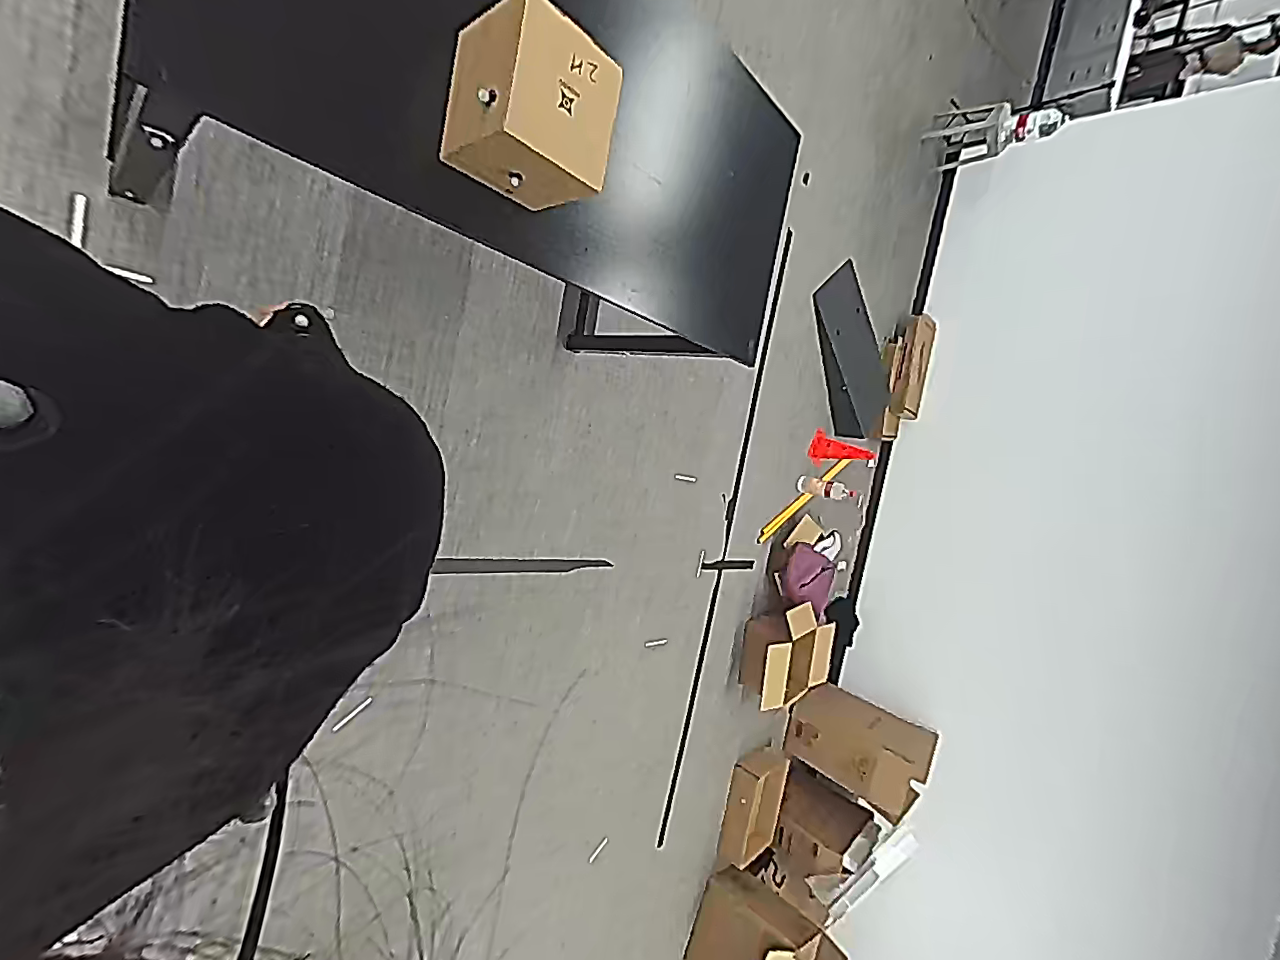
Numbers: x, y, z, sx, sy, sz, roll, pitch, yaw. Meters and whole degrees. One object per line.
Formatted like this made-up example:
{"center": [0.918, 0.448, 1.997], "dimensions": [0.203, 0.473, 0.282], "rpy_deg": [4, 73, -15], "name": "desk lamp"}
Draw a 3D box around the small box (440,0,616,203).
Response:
{"center": [-0.162, -0.521, 0.764], "dimensions": [0.168, 0.176, 0.179], "rpy_deg": [6, 95, -48], "name": "small box"}
